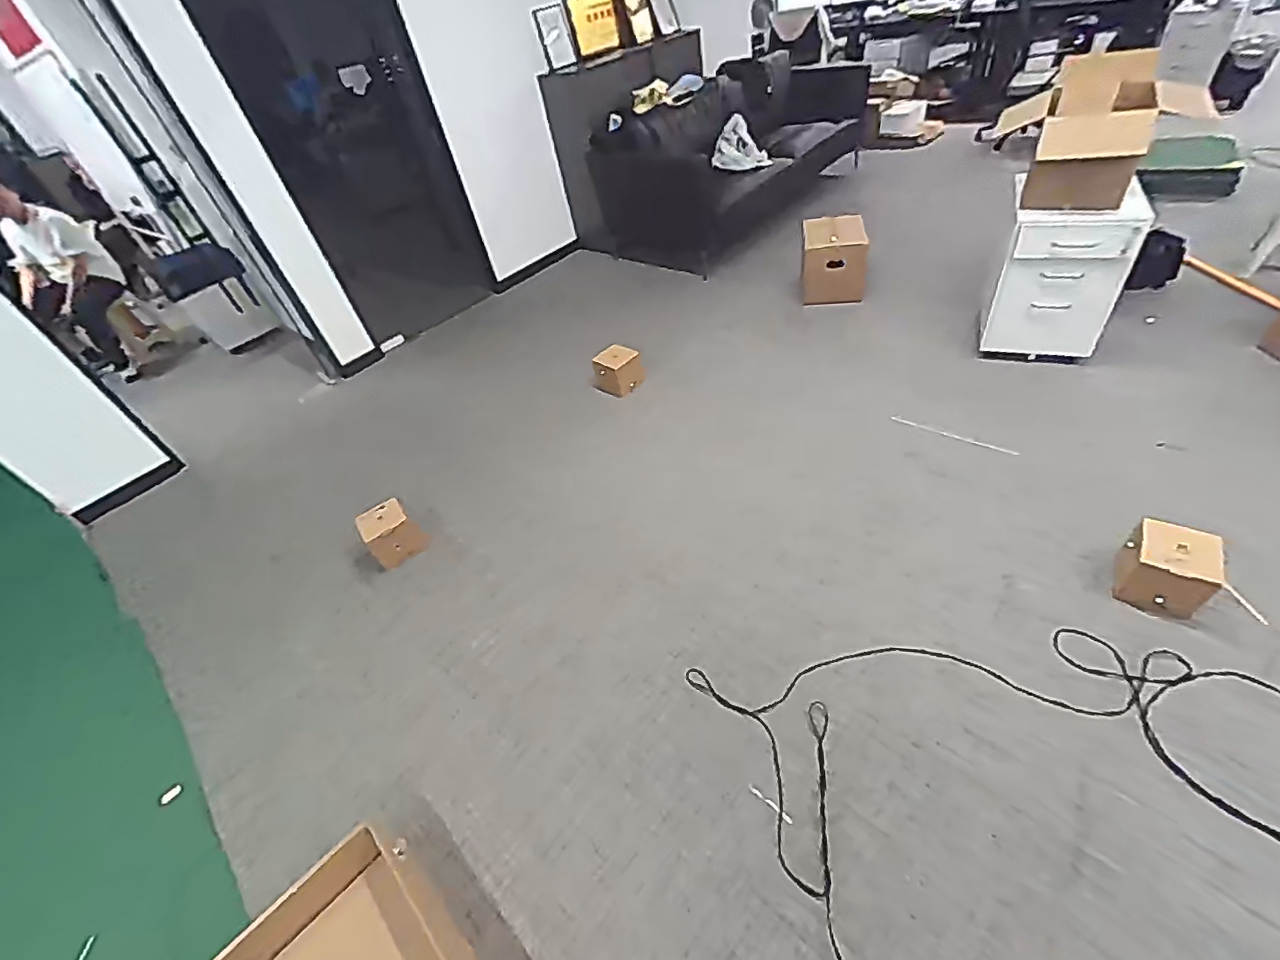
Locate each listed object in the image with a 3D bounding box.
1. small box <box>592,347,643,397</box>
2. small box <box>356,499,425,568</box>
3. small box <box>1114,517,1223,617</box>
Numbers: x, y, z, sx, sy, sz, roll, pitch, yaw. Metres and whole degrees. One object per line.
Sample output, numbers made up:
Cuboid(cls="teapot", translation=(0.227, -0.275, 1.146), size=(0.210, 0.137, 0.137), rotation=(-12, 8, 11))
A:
Cuboid(cls="small box", translation=(-0.108, -0.535, 2.690), size=(0.179, 0.176, 0.168), rotation=(28, 57, 34))
Cuboid(cls="small box", translation=(-0.964, 0.215, 2.096), size=(0.168, 0.176, 0.179), rotation=(-32, 46, -19))
Cuboid(cls="small box", translation=(1.435, 0.237, 1.477), size=(0.168, 0.176, 0.179), rotation=(19, 52, 30))
